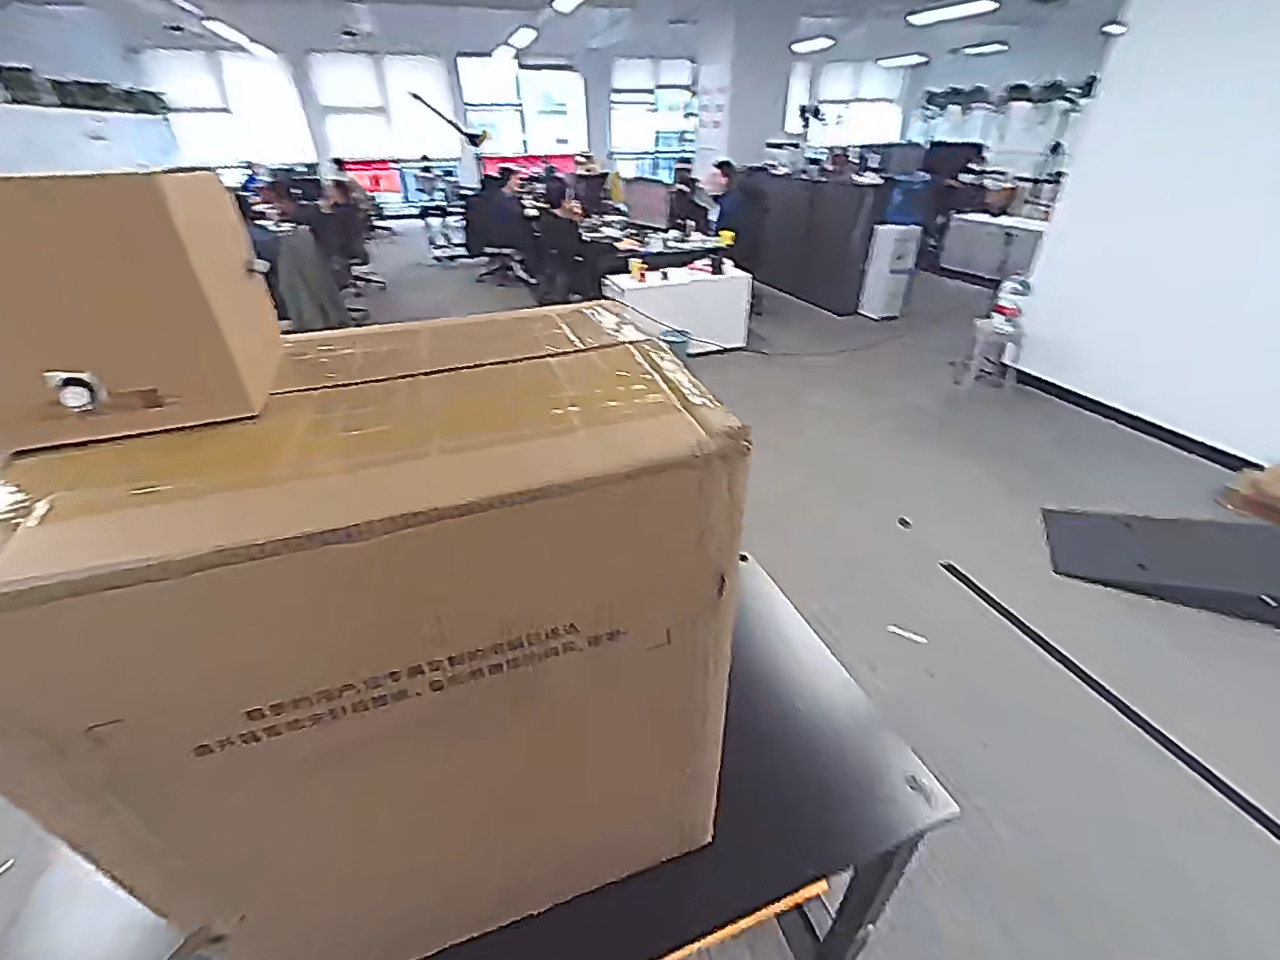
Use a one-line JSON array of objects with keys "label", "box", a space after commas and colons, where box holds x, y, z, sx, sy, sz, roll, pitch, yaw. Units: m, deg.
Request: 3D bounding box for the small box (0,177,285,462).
[{"label": "small box", "box": [-0.403, -0.134, 0.421, 0.168, 0.176, 0.179, -15, 34, -19]}]
